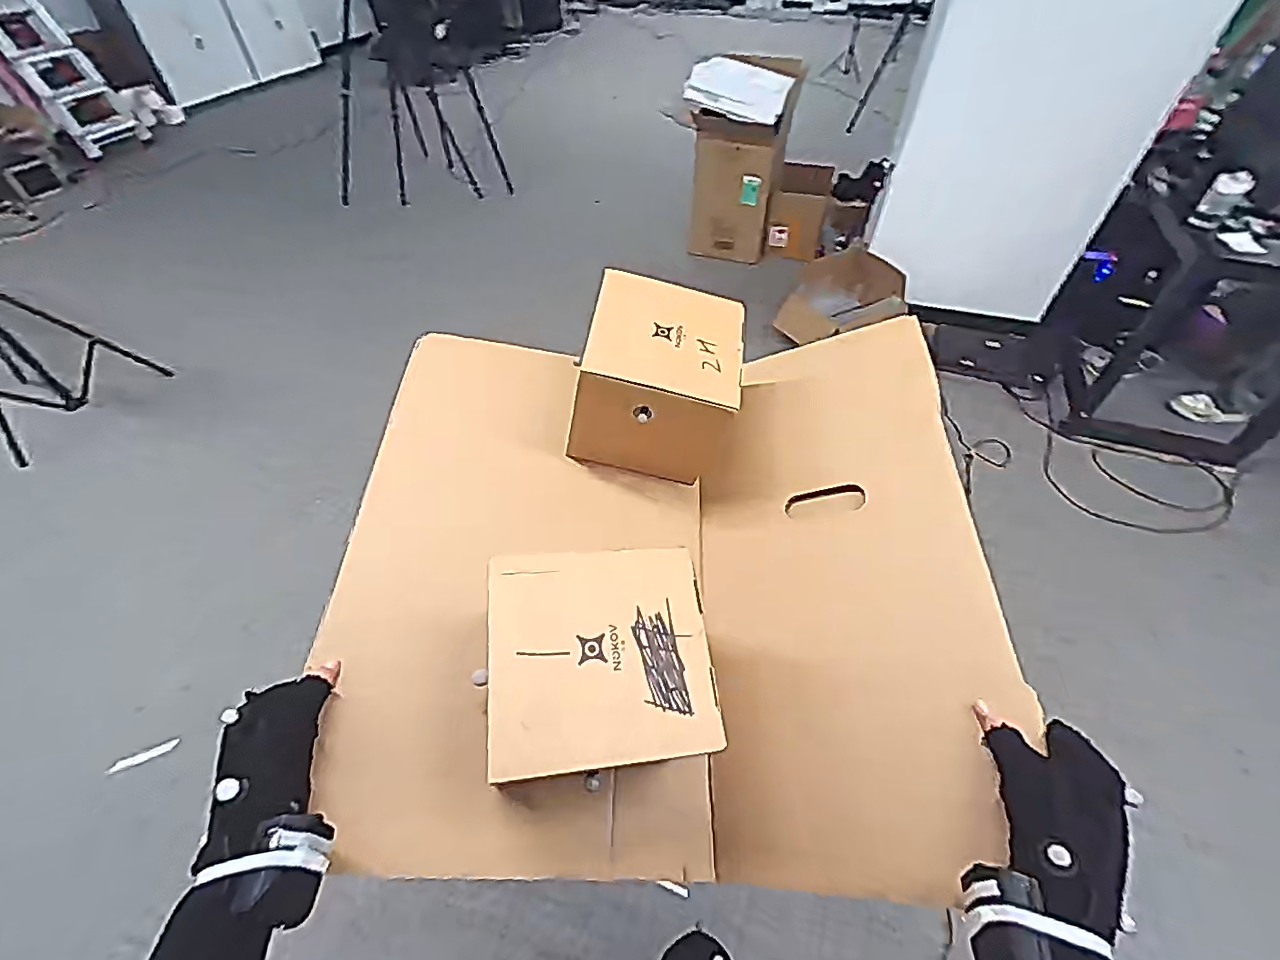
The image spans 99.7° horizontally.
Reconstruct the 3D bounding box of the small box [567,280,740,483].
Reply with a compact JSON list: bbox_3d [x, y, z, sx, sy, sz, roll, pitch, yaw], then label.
[{"bbox_3d":[0.011,-0.115,0.684,0.179,0.176,0.168,14,59,-7],"label":"small box"}]

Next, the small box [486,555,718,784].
[{"bbox_3d":[-0.048,0.177,0.501,0.179,0.176,0.168,-1,61,-13],"label":"small box"}]
